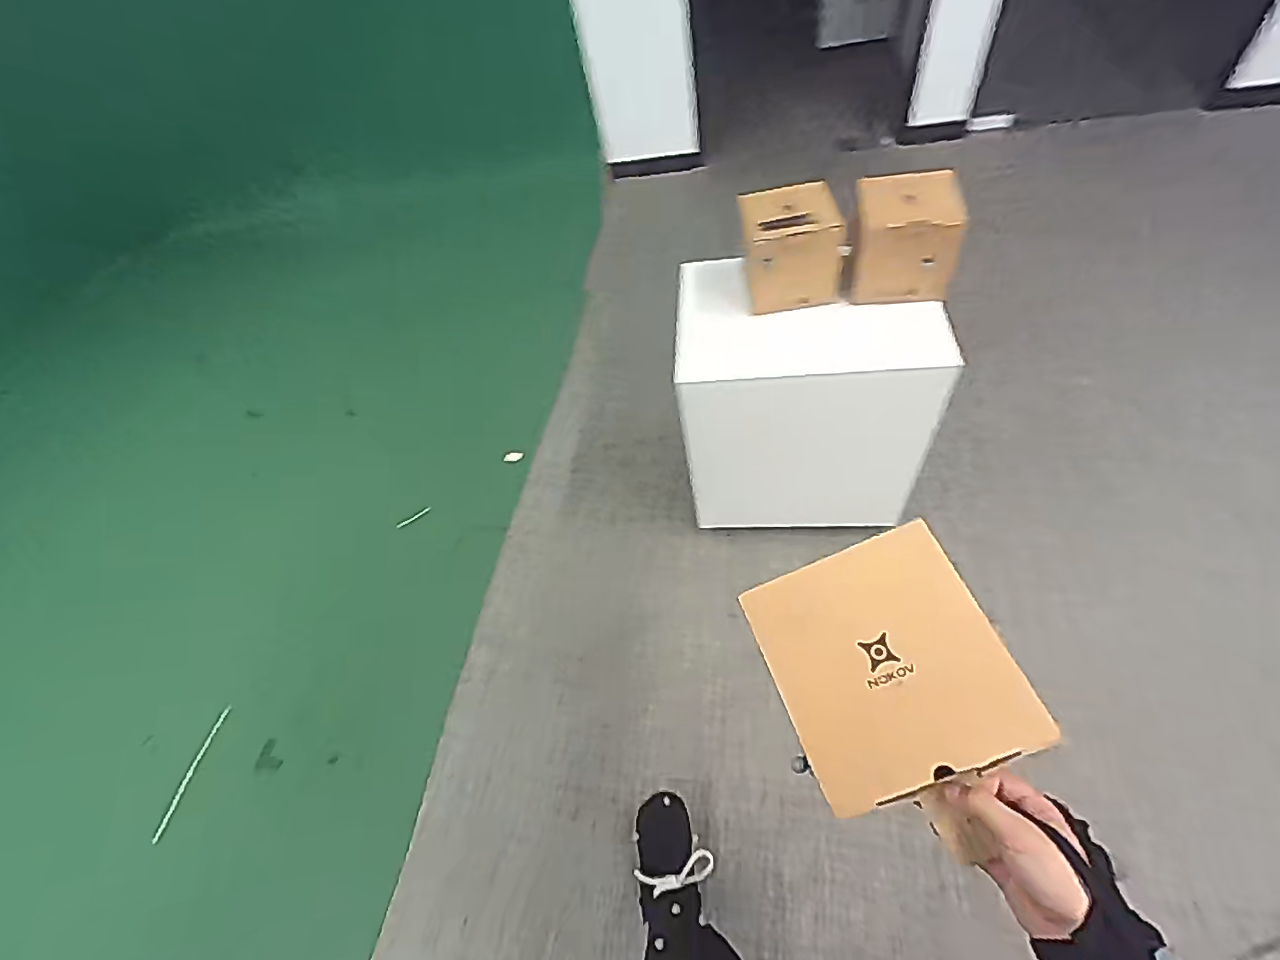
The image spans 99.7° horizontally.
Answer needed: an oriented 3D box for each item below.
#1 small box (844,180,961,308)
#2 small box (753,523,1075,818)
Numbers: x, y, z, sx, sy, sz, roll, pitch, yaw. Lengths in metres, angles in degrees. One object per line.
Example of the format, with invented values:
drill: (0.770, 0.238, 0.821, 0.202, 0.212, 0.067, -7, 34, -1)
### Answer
small box: (0.500, -0.452, 1.057, 0.168, 0.176, 0.179, 1, 54, 12)
small box: (0.213, 0.168, 0.477, 0.168, 0.176, 0.179, -23, 62, 6)
